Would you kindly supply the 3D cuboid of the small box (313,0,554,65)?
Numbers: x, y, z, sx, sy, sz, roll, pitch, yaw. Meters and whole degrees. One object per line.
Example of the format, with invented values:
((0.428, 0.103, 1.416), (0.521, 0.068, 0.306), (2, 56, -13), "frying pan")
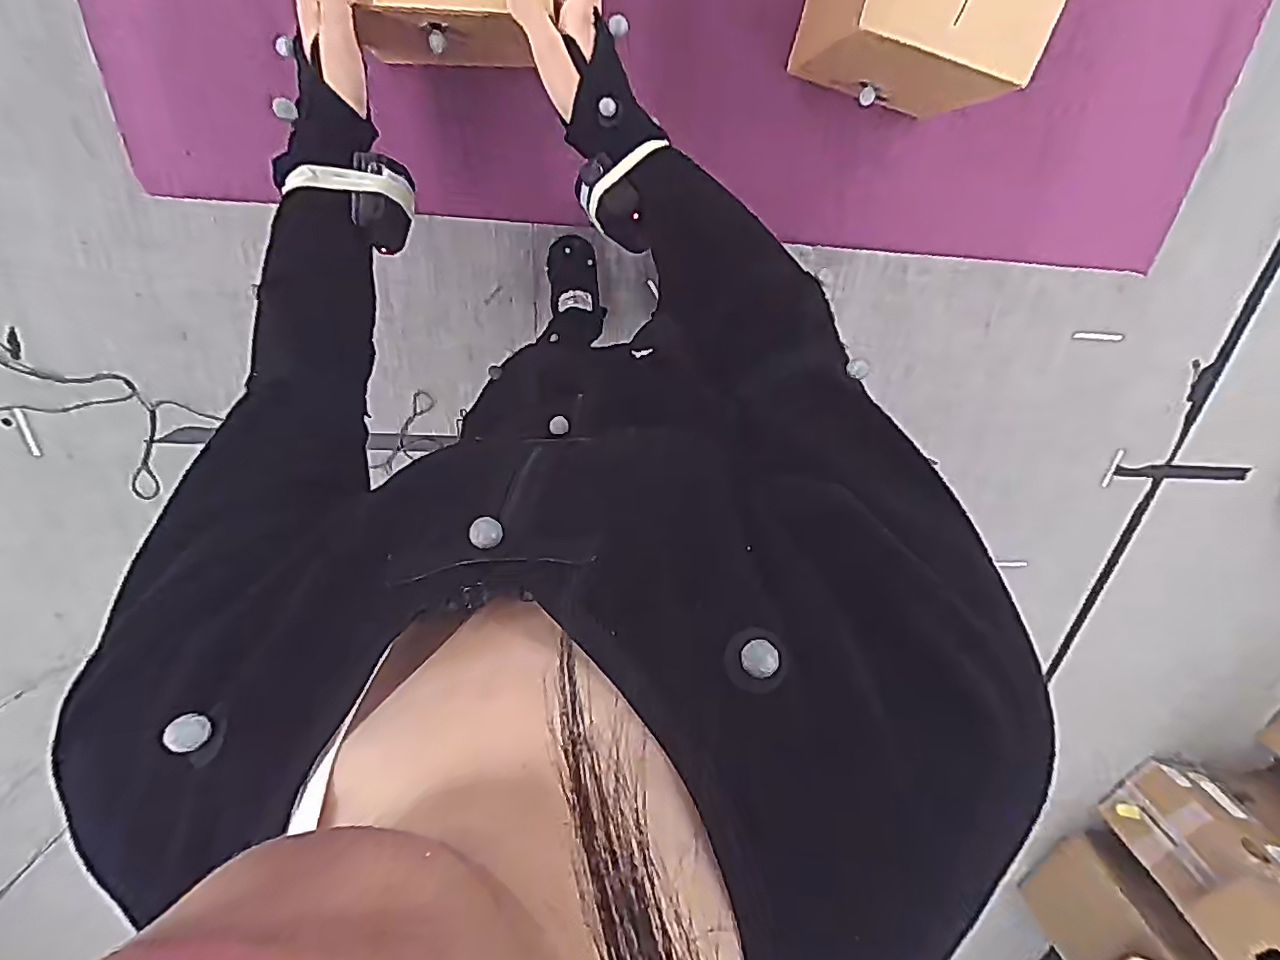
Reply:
((-0.161, -0.459, 0.440), (0.179, 0.176, 0.168), (-2, 117, -6), "small box")

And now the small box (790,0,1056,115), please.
((0.259, -0.463, 0.489), (0.168, 0.176, 0.179), (10, 116, -11), "small box")
